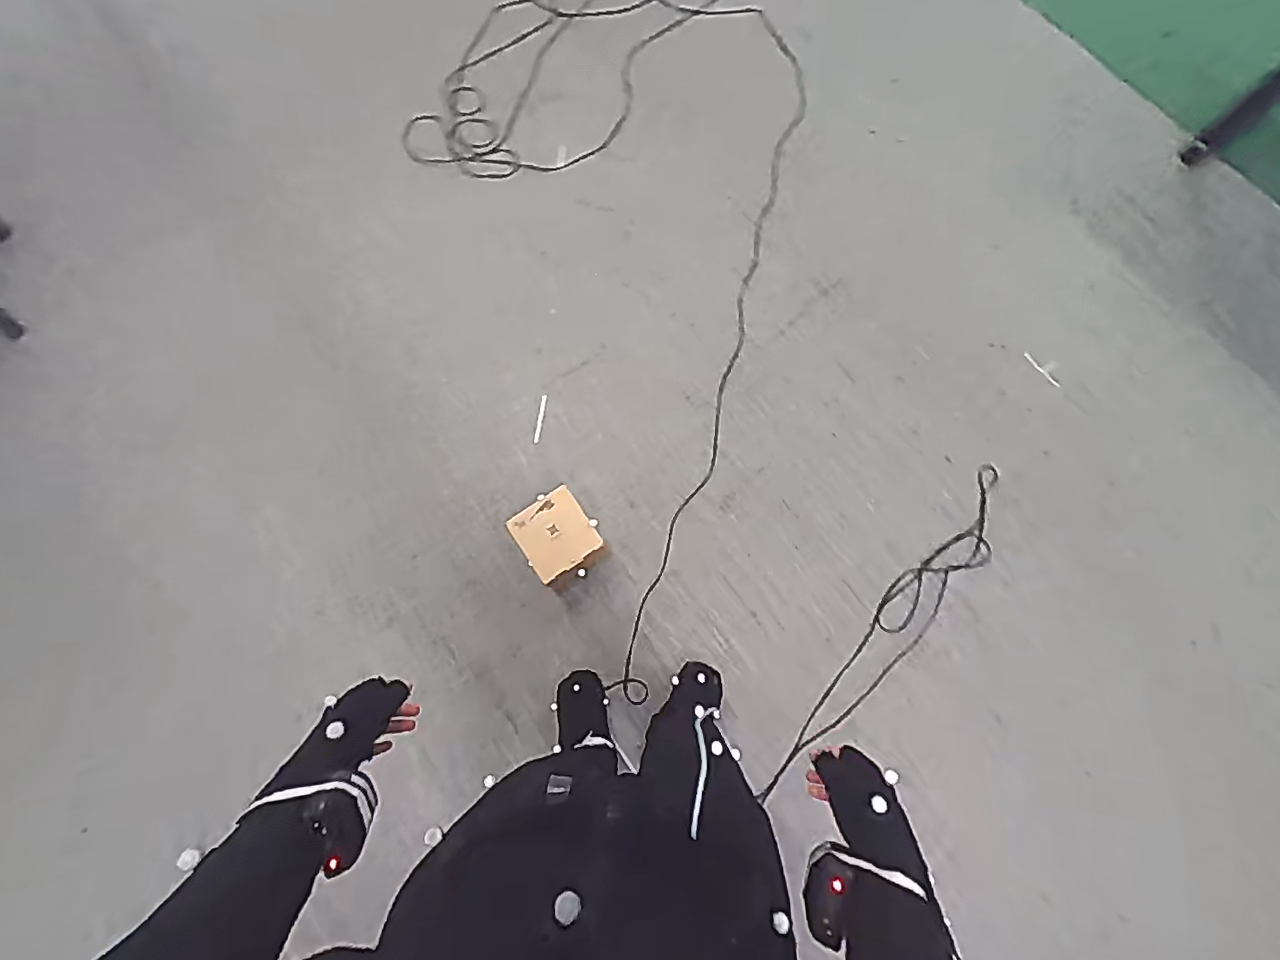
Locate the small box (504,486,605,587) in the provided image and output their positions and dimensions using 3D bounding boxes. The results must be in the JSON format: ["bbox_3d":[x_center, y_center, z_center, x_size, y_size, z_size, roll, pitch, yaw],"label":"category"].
[{"bbox_3d":[-0.197,0.145,1.307,0.168,0.176,0.179,-34,77,-9],"label":"small box"}]
